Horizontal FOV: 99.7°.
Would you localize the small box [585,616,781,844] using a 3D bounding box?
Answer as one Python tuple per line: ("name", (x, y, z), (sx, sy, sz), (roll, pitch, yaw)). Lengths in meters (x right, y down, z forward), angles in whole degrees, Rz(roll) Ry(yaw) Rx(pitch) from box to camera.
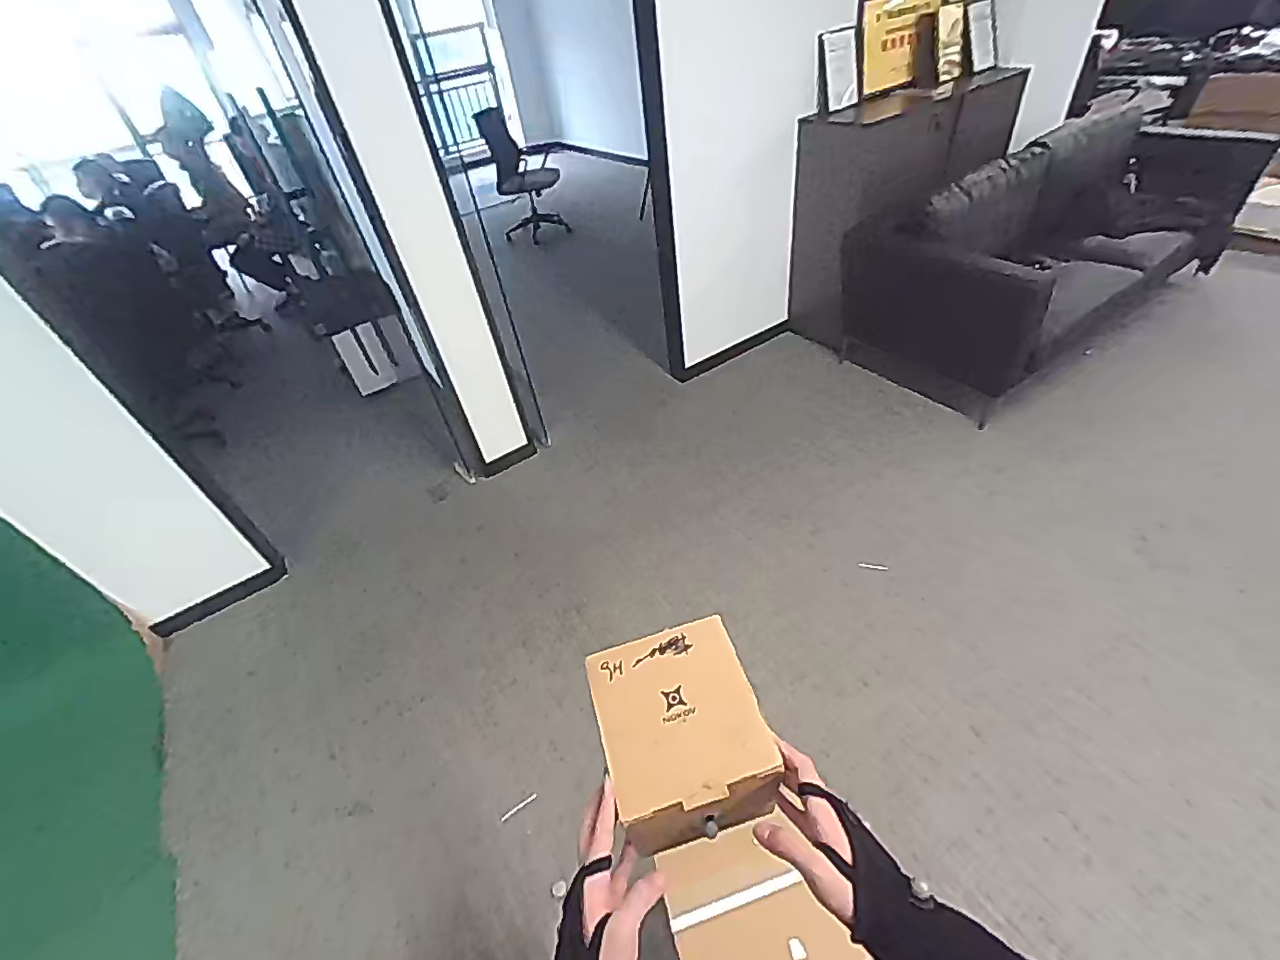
("small box", (0.046, 0.291, 0.620), (0.168, 0.176, 0.179), (-16, 47, -6))
